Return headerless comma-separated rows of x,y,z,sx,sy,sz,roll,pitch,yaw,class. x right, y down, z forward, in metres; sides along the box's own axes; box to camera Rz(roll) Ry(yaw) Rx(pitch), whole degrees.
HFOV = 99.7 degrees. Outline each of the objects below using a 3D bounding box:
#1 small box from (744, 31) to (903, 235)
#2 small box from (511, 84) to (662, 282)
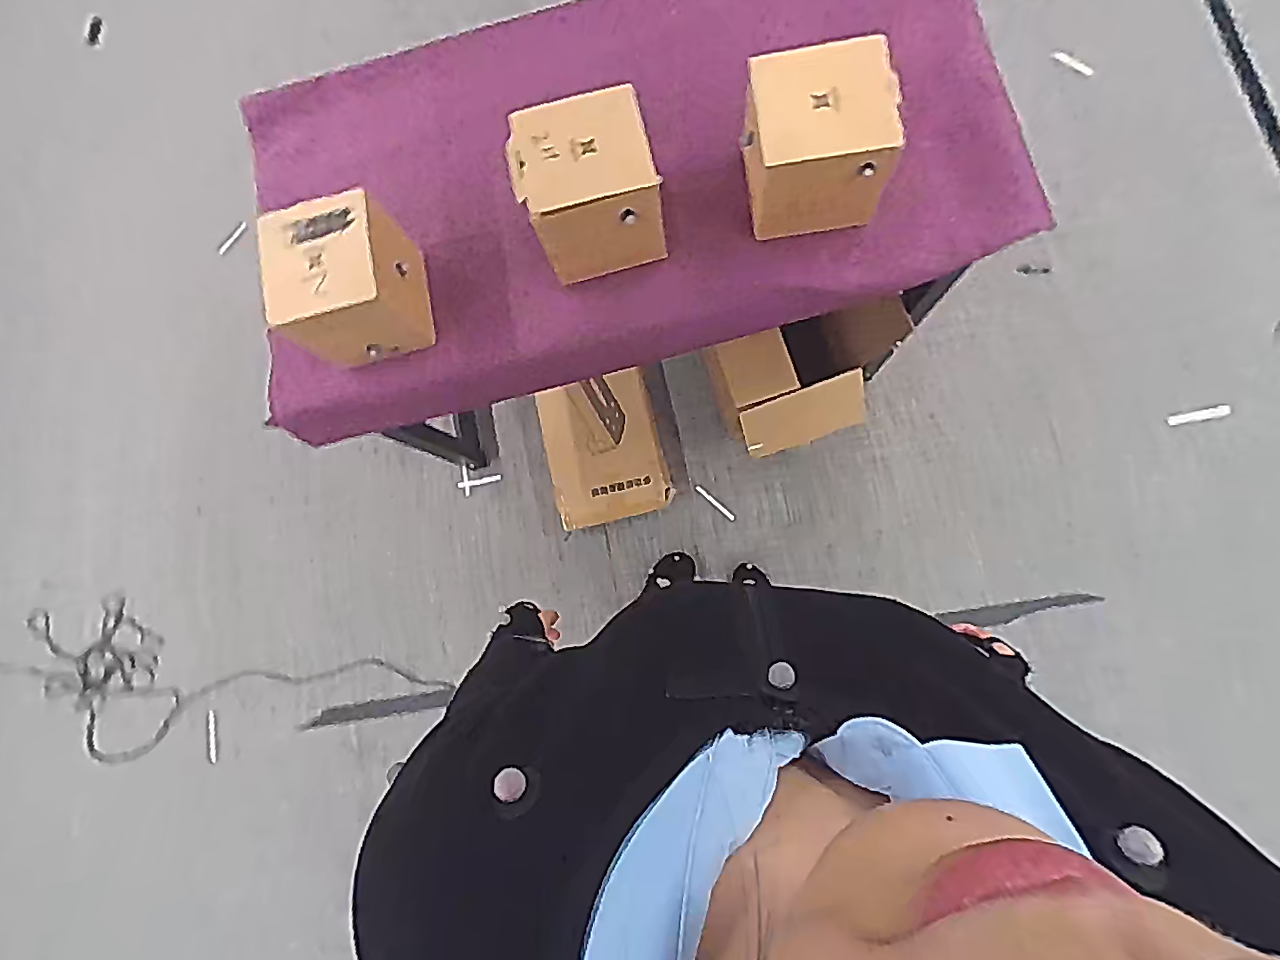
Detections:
0.245,-0.476,0.769,0.179,0.176,0.168,-7,81,6,small box
-0.068,-0.423,0.798,0.179,0.176,0.168,-14,78,5,small box
